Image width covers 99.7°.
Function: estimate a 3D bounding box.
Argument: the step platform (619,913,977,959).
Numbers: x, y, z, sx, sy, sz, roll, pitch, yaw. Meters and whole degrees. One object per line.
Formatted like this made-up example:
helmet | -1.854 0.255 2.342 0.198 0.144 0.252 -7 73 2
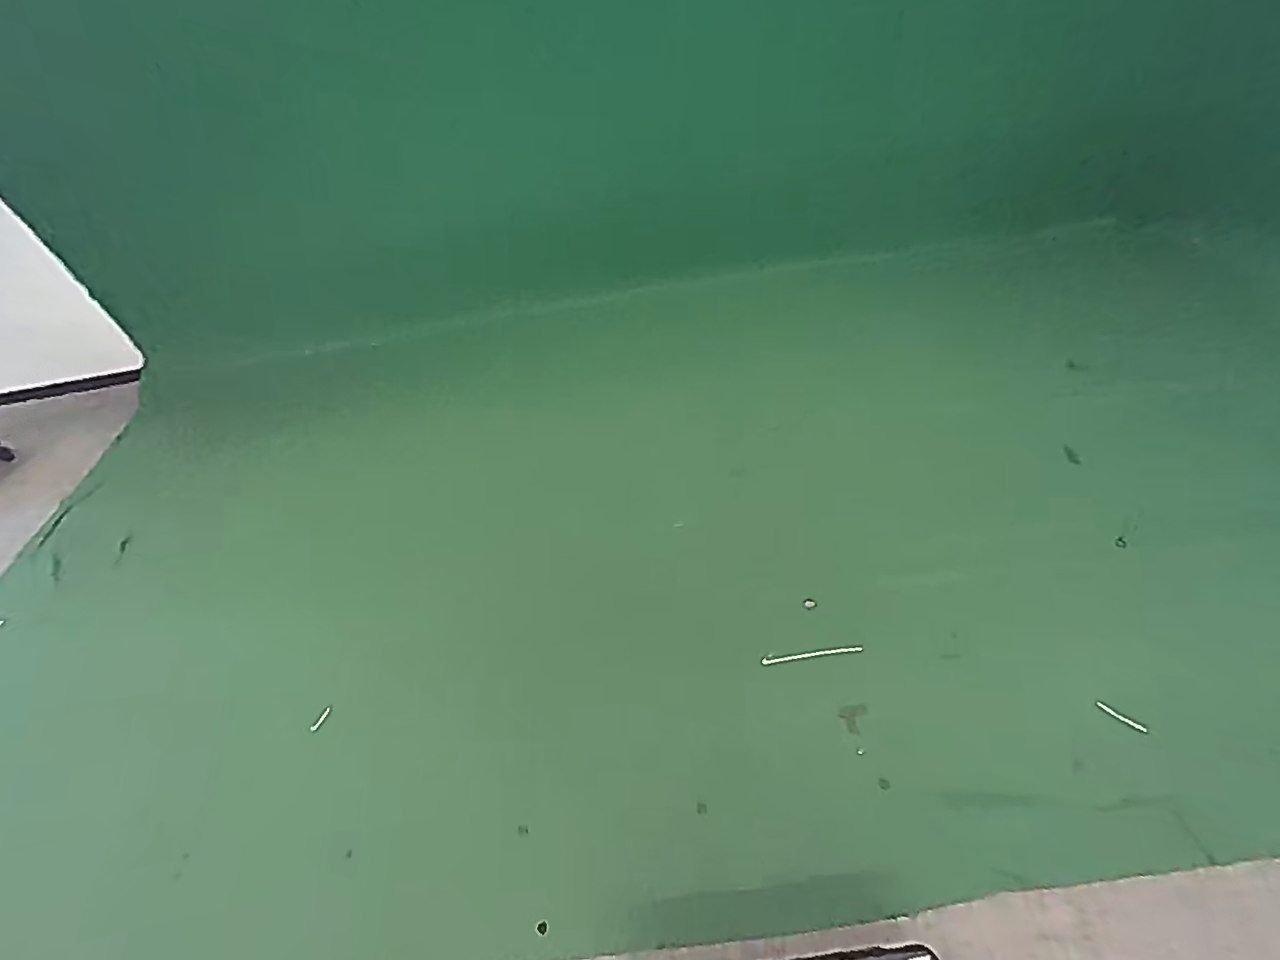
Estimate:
step platform | 0.266 0.988 0.949 0.684 0.204 0.286 -10 48 1
